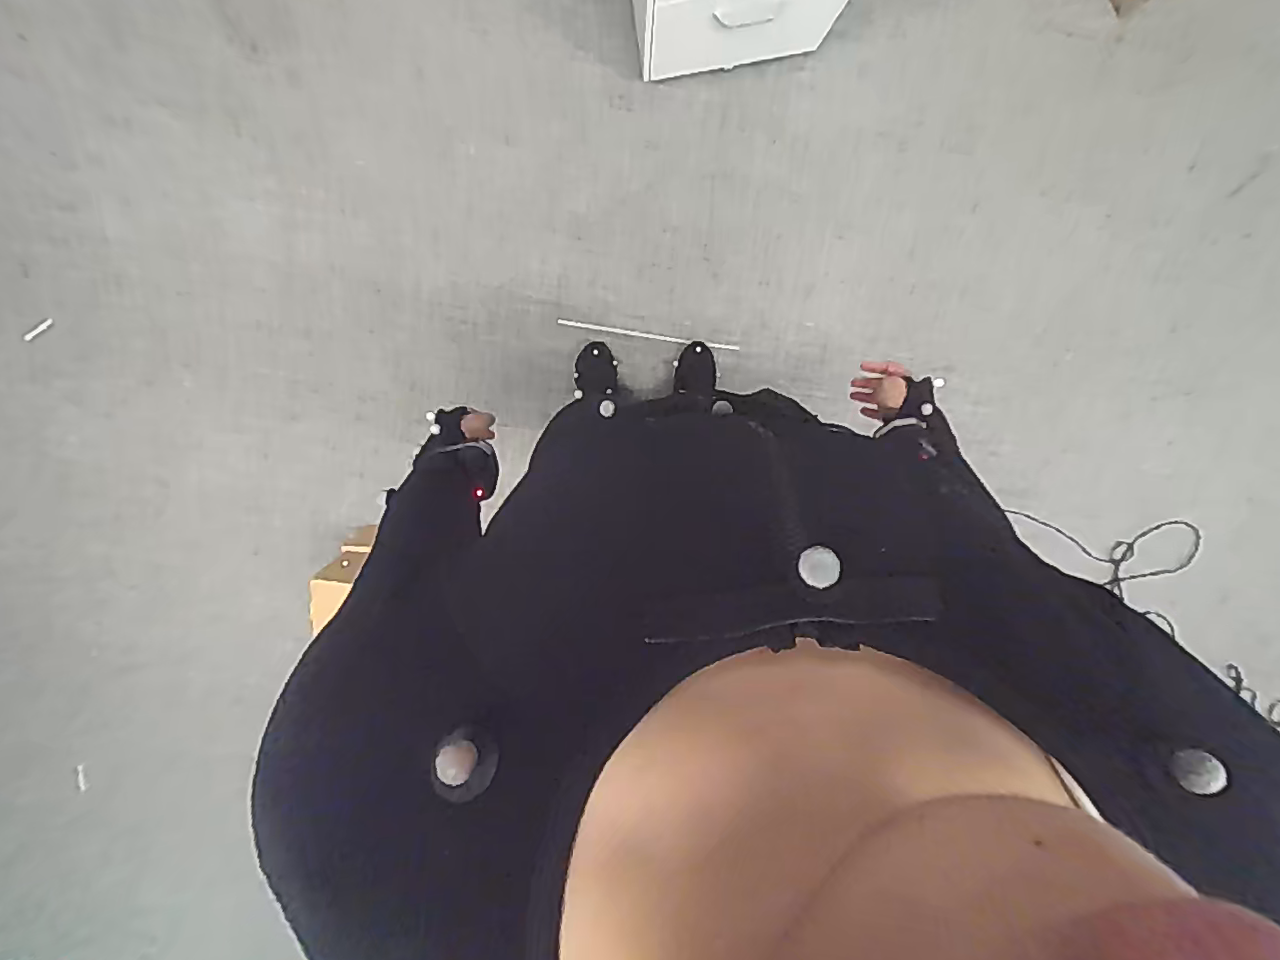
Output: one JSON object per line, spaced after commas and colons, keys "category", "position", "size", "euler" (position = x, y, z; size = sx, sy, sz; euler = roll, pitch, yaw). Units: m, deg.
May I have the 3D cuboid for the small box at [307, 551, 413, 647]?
{"category": "small box", "position": [-0.677, 0.284, 1.318], "size": [0.179, 0.176, 0.168], "euler": [6, 105, -4]}
